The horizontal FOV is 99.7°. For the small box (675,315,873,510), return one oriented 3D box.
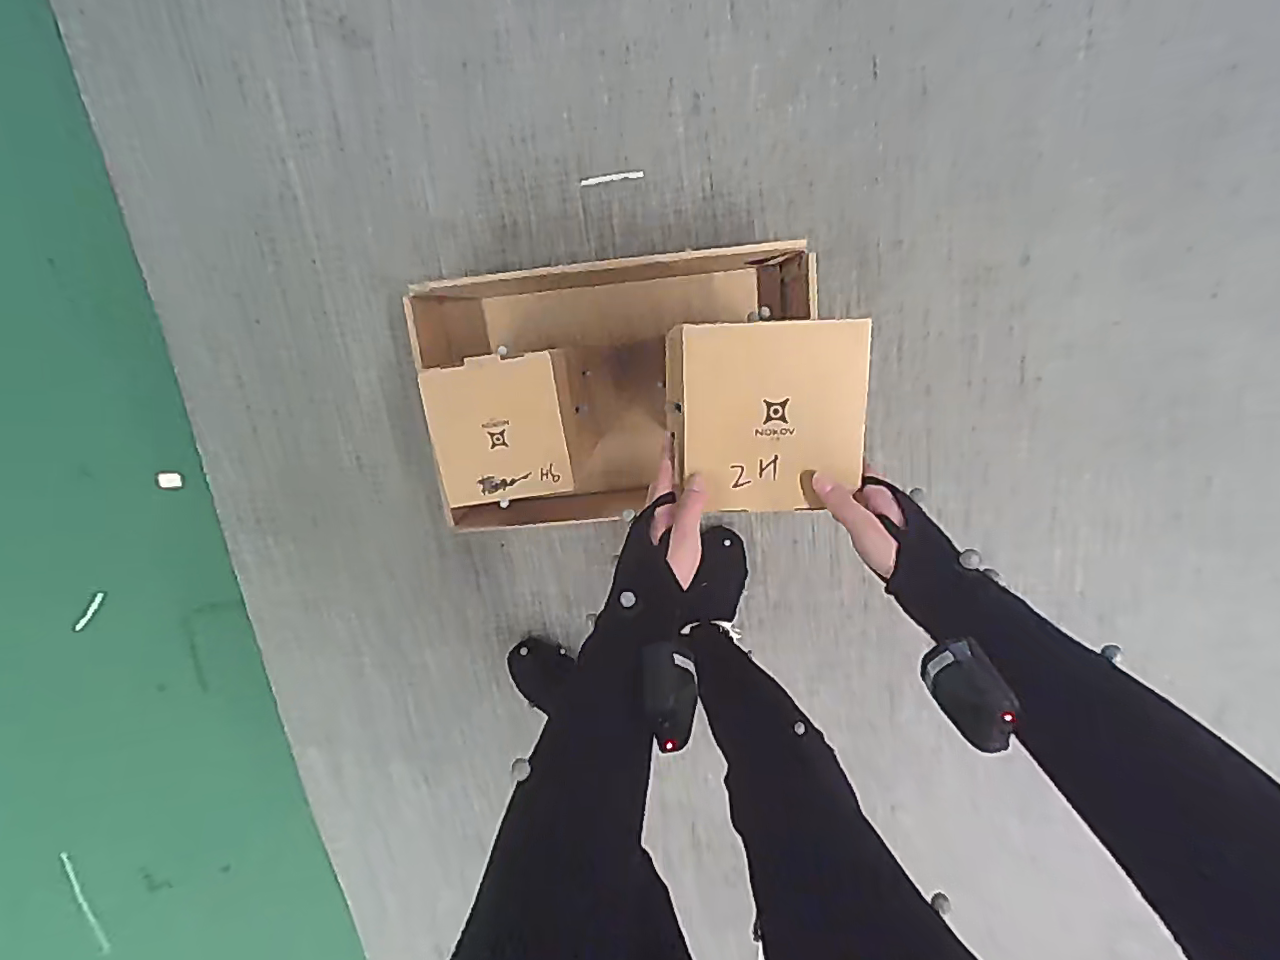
[{"bbox_3d":[0.122,-0.077,0.564,0.168,0.176,0.179,-1,106,1],"label":"small box"}]

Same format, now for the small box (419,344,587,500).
[{"bbox_3d":[-0.171,-0.085,0.734,0.168,0.176,0.179,-7,104,4],"label":"small box"}]
